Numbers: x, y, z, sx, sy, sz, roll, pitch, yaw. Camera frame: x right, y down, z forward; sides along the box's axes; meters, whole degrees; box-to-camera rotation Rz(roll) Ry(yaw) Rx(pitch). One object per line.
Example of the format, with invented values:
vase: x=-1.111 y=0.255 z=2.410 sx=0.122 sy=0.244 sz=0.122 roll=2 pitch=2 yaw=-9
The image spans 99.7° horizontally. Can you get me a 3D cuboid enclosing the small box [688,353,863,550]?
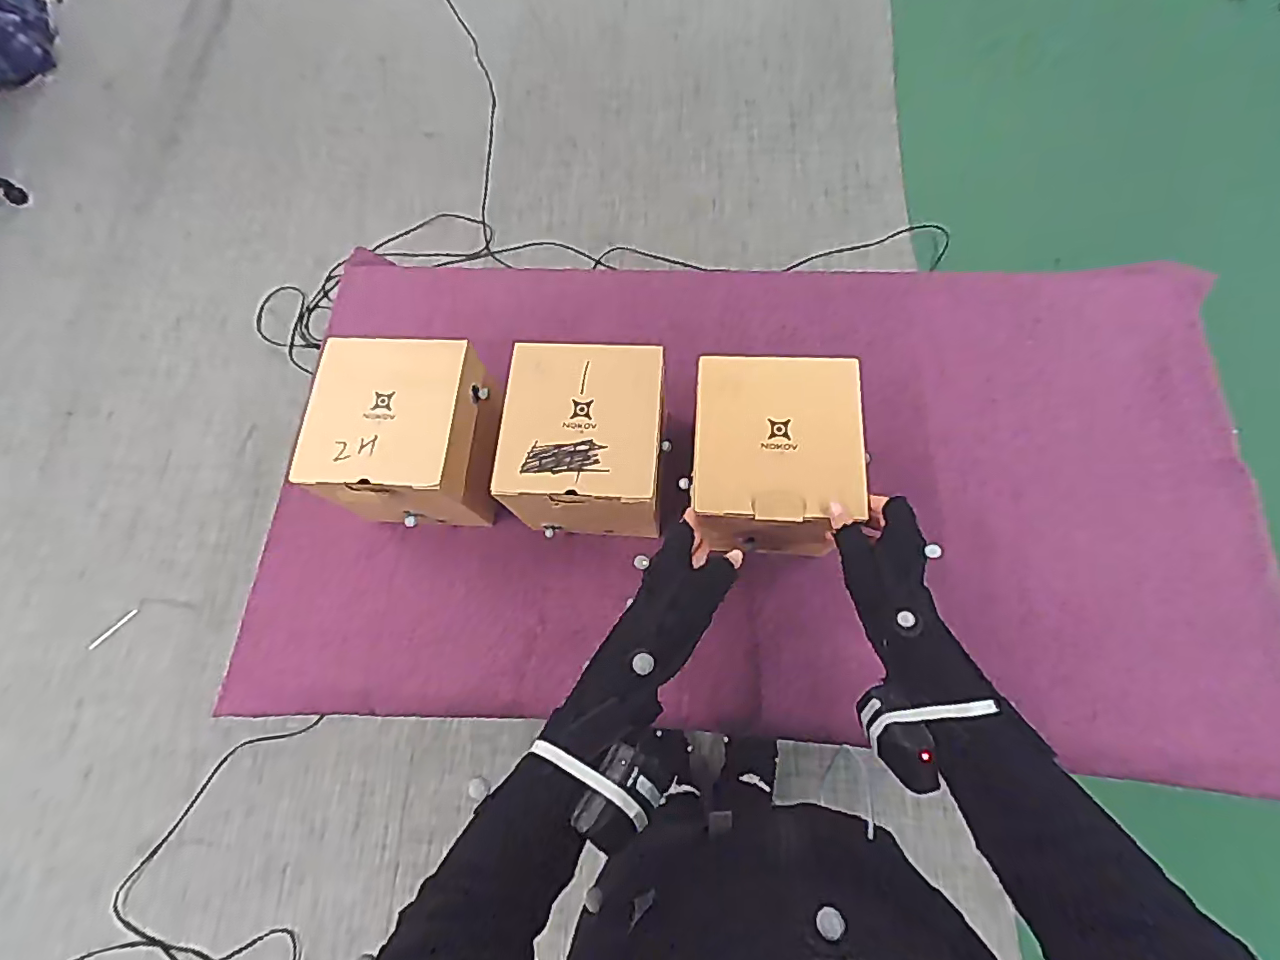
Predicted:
small box: x=0.141 y=-0.025 z=0.619 sx=0.168 sy=0.176 sz=0.179 roll=2 pitch=73 yaw=5

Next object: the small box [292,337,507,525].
small box: x=-0.272 y=-0.053 z=0.659 sx=0.168 sy=0.176 sz=0.179 roll=2 pitch=72 yaw=6
